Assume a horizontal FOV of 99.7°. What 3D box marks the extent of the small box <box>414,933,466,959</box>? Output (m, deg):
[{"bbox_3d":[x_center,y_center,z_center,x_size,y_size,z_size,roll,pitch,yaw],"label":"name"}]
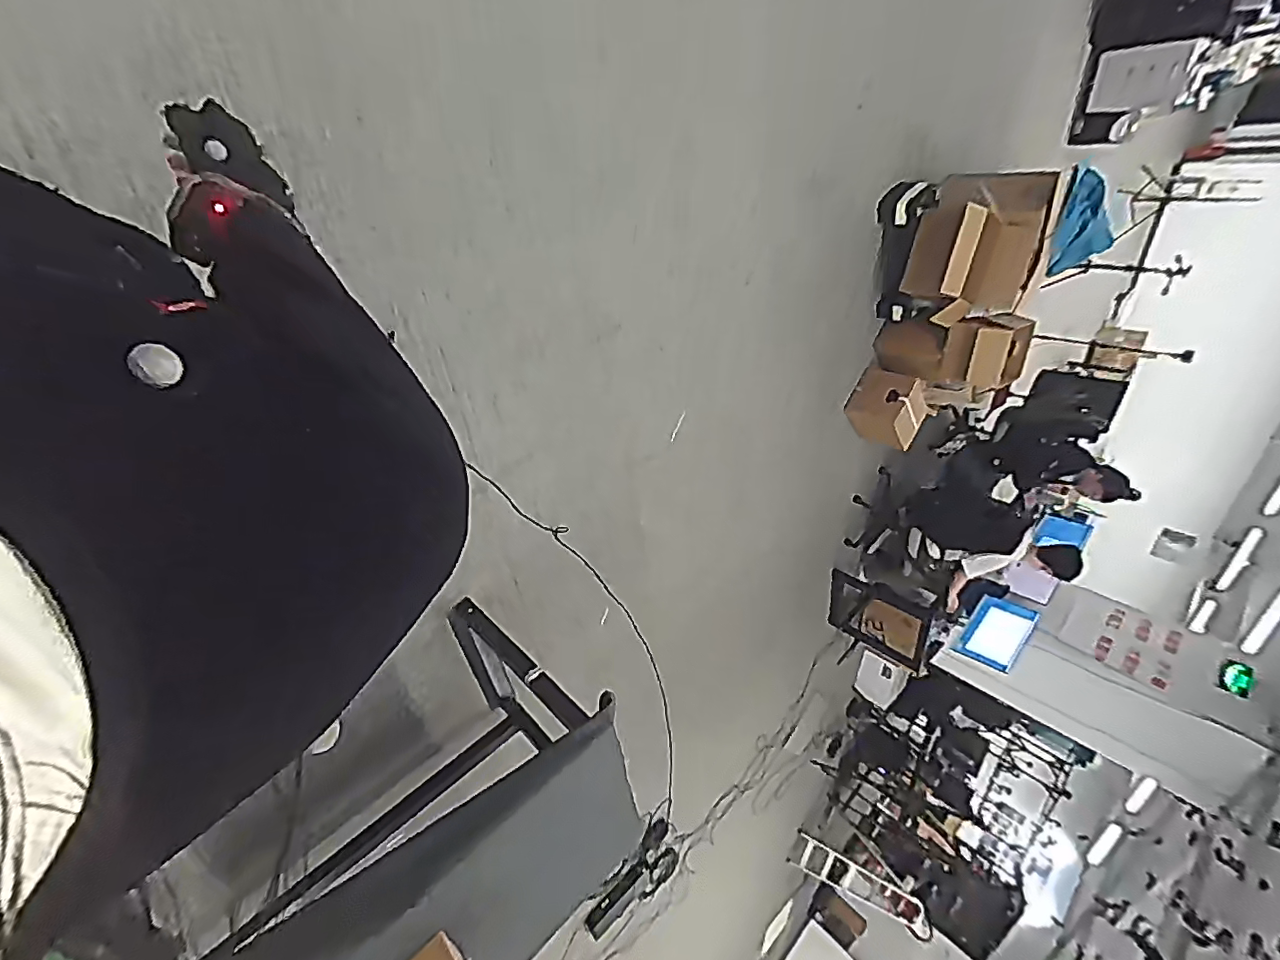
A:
[{"bbox_3d":[-0.418,1.082,1.093,0.179,0.176,0.168,-31,130,-31],"label":"small box"}]
